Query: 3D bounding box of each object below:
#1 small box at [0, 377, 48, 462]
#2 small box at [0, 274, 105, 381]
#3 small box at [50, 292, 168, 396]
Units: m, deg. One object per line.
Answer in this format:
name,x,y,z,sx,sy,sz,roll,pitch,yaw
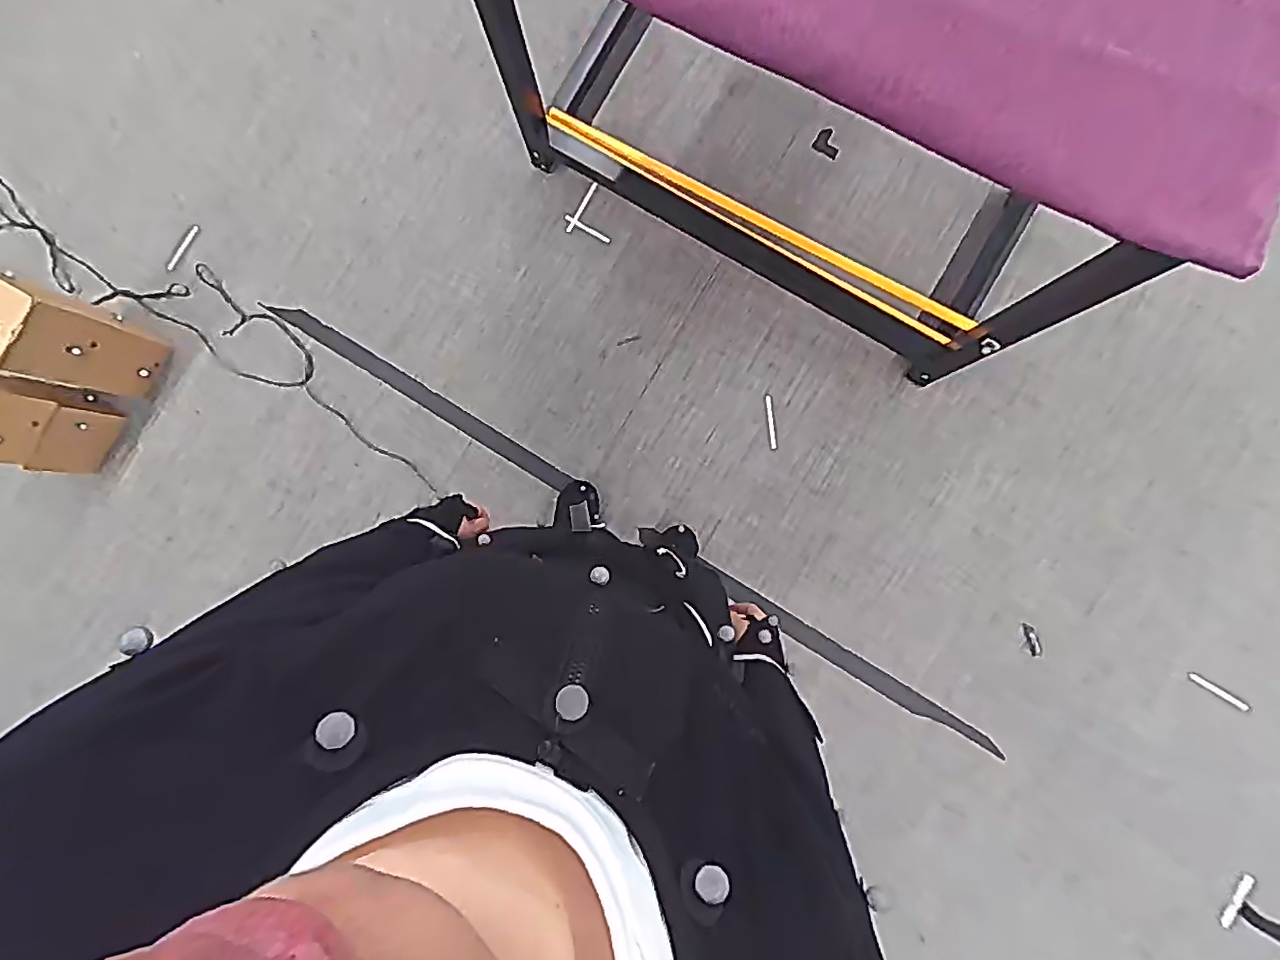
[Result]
small box,-1.474,-0.146,1.174,0.179,0.176,0.168,25,88,3
small box,-1.355,-0.336,1.179,0.179,0.176,0.168,29,88,2
small box,-1.353,-0.327,1.343,0.179,0.176,0.168,31,88,1
